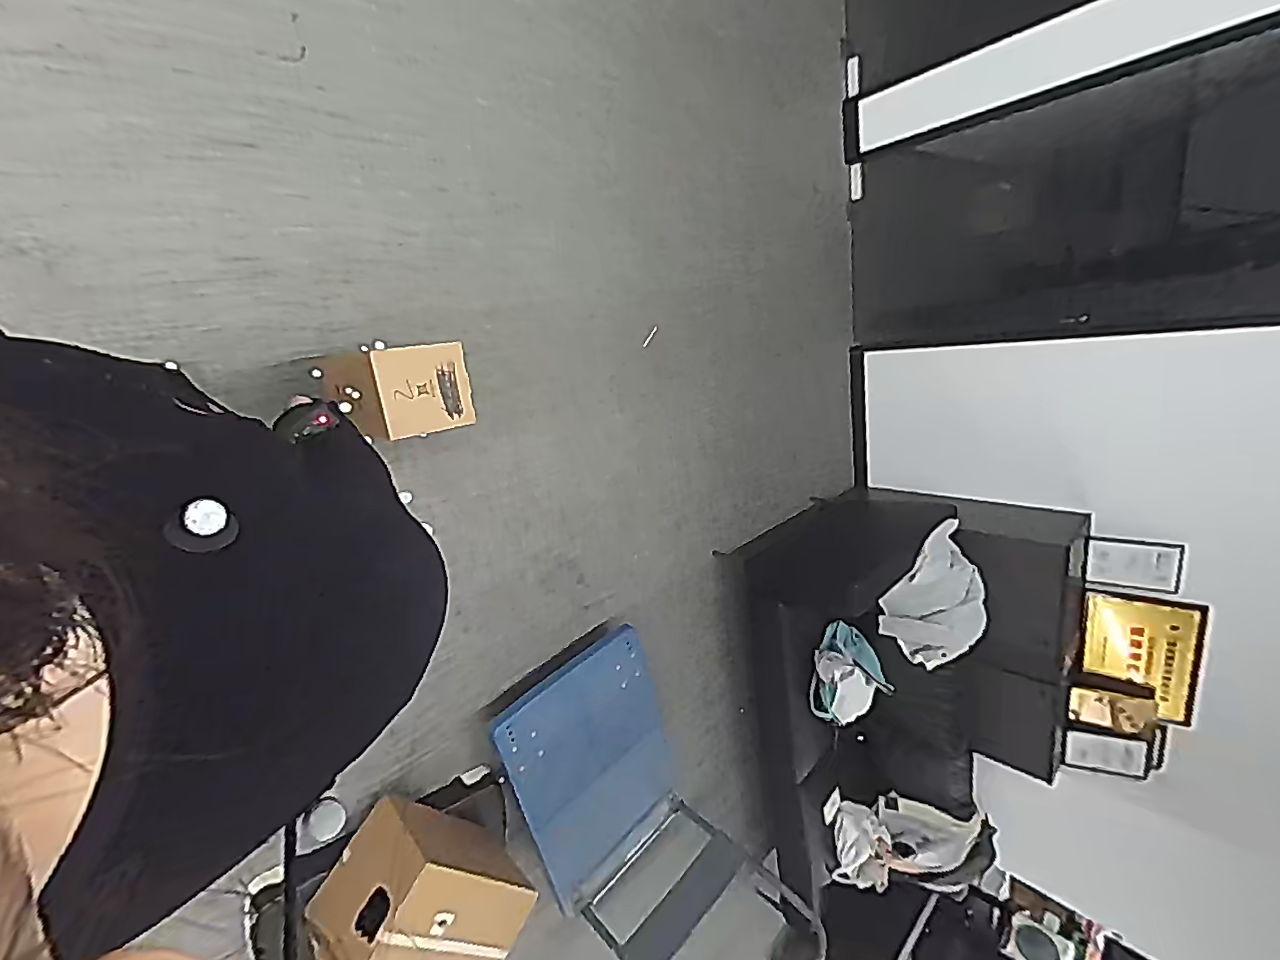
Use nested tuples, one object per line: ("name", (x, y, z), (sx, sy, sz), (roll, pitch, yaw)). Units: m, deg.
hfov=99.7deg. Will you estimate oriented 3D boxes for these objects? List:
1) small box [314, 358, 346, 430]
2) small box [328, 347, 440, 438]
("small box", (-0.682, -0.221, 1.335), (0.179, 0.176, 0.168), (-20, 110, -40))
("small box", (-0.576, -0.197, 1.211), (0.168, 0.176, 0.179), (-19, 110, -39))
